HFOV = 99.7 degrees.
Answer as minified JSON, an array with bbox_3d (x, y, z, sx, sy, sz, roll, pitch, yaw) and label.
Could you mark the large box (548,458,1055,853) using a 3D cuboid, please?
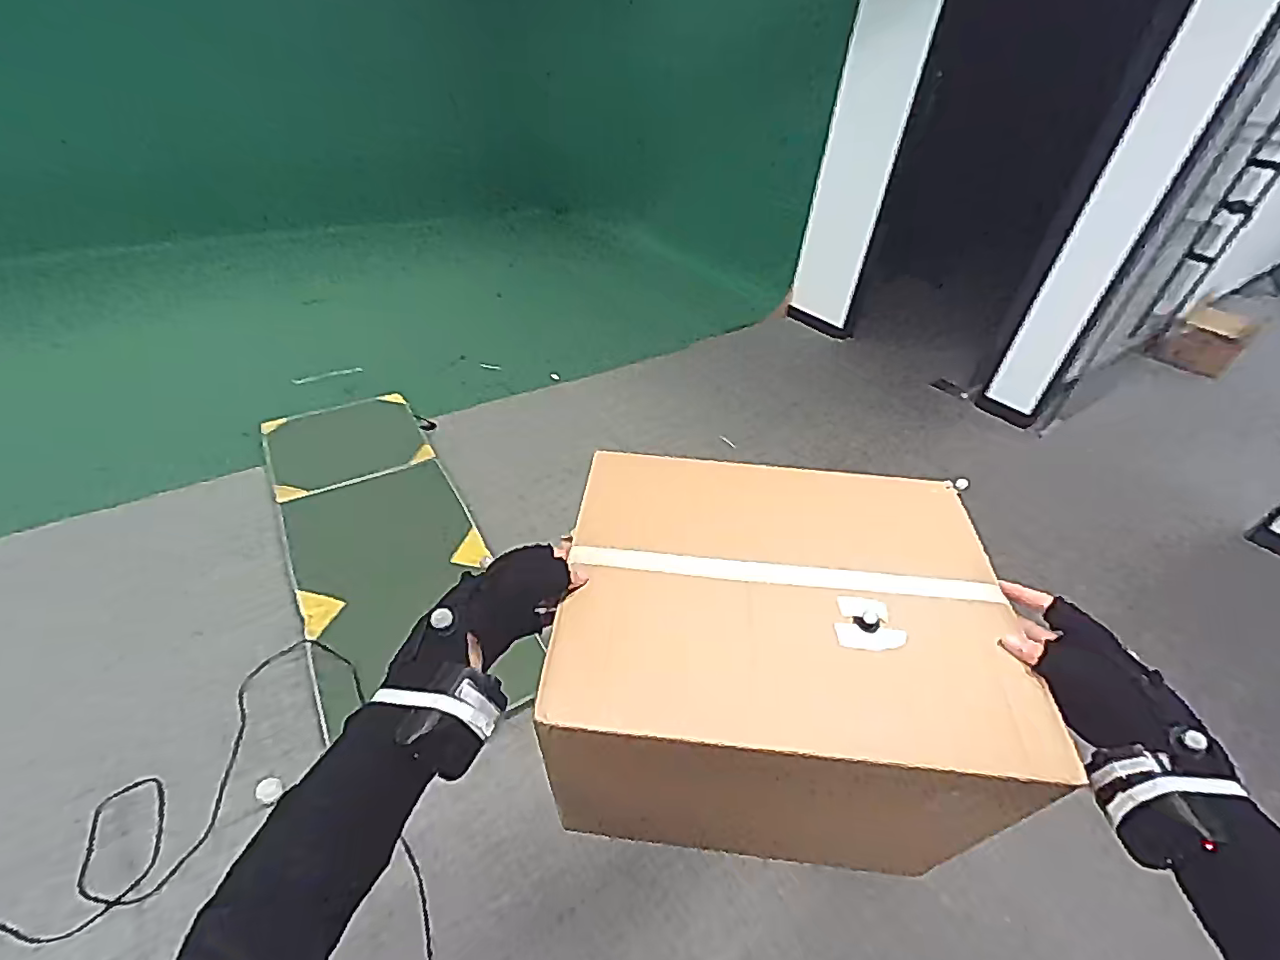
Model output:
[{"bbox_3d":[0.125,0.200,0.625,0.408,0.320,0.320,5,45,2],"label":"large box"}]
